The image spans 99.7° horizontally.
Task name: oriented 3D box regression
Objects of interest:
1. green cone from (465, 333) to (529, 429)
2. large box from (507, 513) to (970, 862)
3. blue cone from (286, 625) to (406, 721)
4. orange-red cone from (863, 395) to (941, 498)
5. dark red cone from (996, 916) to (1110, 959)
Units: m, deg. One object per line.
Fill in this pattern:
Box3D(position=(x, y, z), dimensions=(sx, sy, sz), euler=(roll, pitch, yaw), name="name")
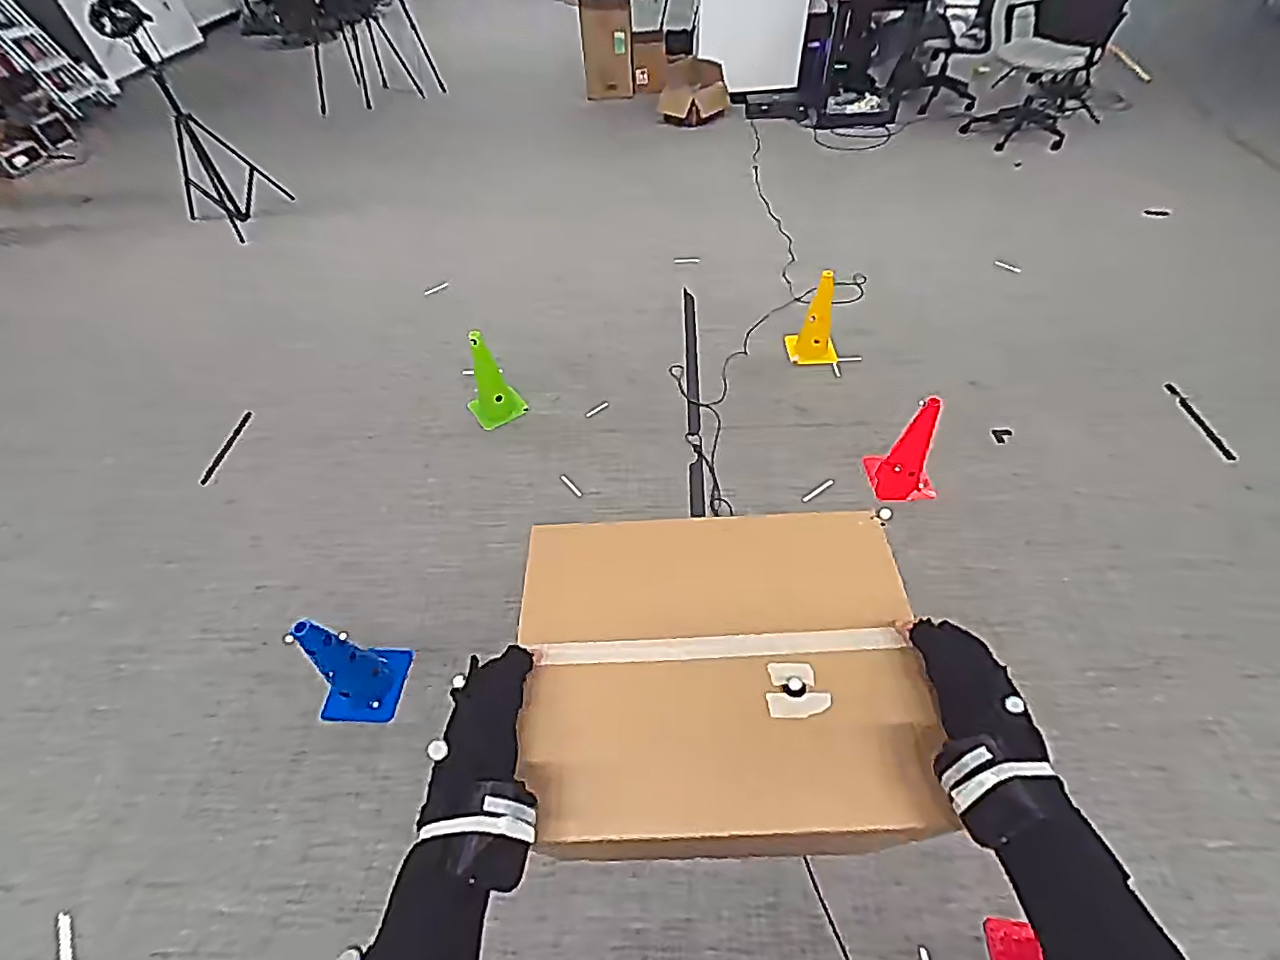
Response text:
Box3D(position=(-0.593, -0.408, 2.075), dimensions=(0.202, 0.368, 0.200), euler=(-32, 54, -19), name="green cone")
Box3D(position=(0.082, 0.261, 0.663), dimensions=(0.408, 0.320, 0.320), euler=(-3, 52, 1), name="large box")
Box3D(position=(-0.768, 0.465, 1.375), dimensions=(0.192, 0.380, 0.193), euler=(1, 50, 6), name="blue cone")
Box3D(position=(0.881, -0.127, 1.739), dimensions=(0.198, 0.360, 0.199), euler=(-2, 48, 1), name="orange-red cone")
Box3D(position=(0.782, 0.853, 0.890), dimensions=(0.201, 0.394, 0.202), euler=(3, 50, 8), name="dark red cone")
